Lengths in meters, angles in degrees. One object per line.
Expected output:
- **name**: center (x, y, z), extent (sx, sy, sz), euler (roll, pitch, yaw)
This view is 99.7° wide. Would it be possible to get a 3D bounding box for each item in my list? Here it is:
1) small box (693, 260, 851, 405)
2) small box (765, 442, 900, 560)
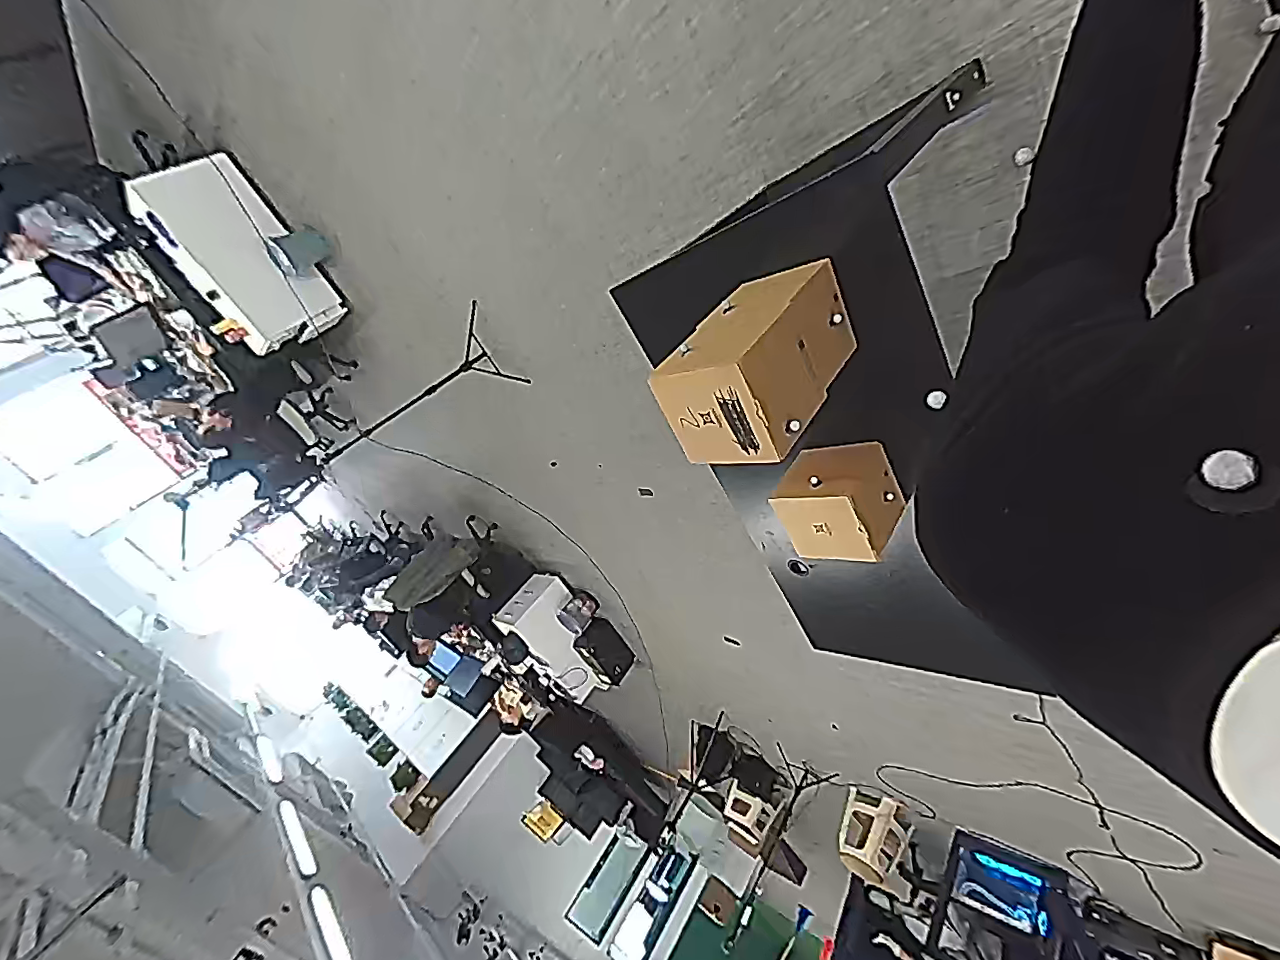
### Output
- **small box**: center (0.228, -0.247, 0.921), extent (0.179, 0.176, 0.168), euler (2, 131, 47)
- **small box**: center (0.392, 0.041, 1.091), extent (0.179, 0.176, 0.168), euler (-5, 125, 50)
